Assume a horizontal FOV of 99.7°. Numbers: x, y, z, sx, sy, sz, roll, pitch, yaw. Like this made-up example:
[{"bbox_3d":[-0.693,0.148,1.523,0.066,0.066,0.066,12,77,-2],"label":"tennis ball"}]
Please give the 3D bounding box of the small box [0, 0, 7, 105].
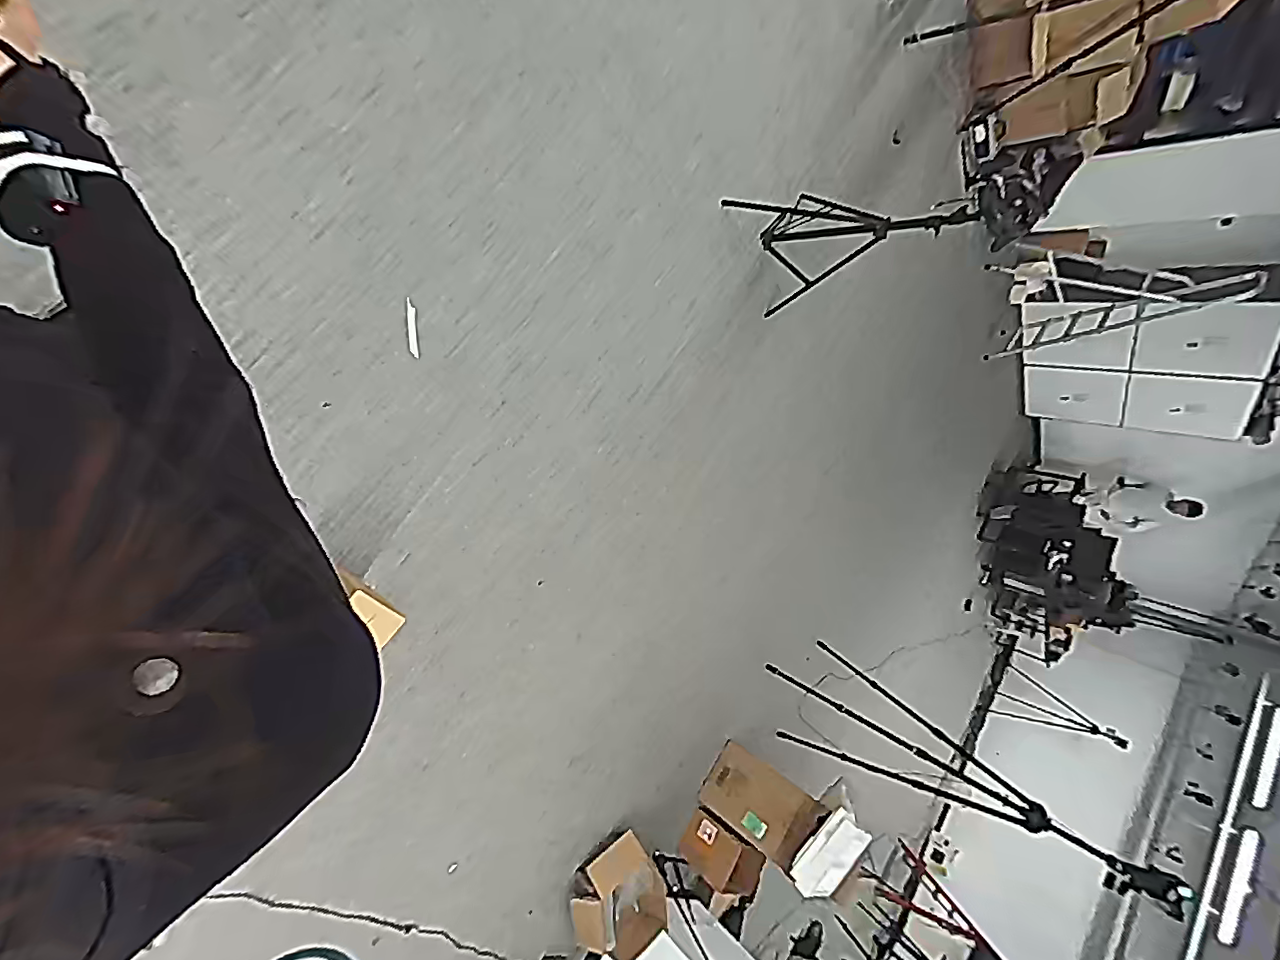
[{"bbox_3d":[-0.626,-0.422,0.422,0.168,0.176,0.179,0,105,-51],"label":"small box"}]
